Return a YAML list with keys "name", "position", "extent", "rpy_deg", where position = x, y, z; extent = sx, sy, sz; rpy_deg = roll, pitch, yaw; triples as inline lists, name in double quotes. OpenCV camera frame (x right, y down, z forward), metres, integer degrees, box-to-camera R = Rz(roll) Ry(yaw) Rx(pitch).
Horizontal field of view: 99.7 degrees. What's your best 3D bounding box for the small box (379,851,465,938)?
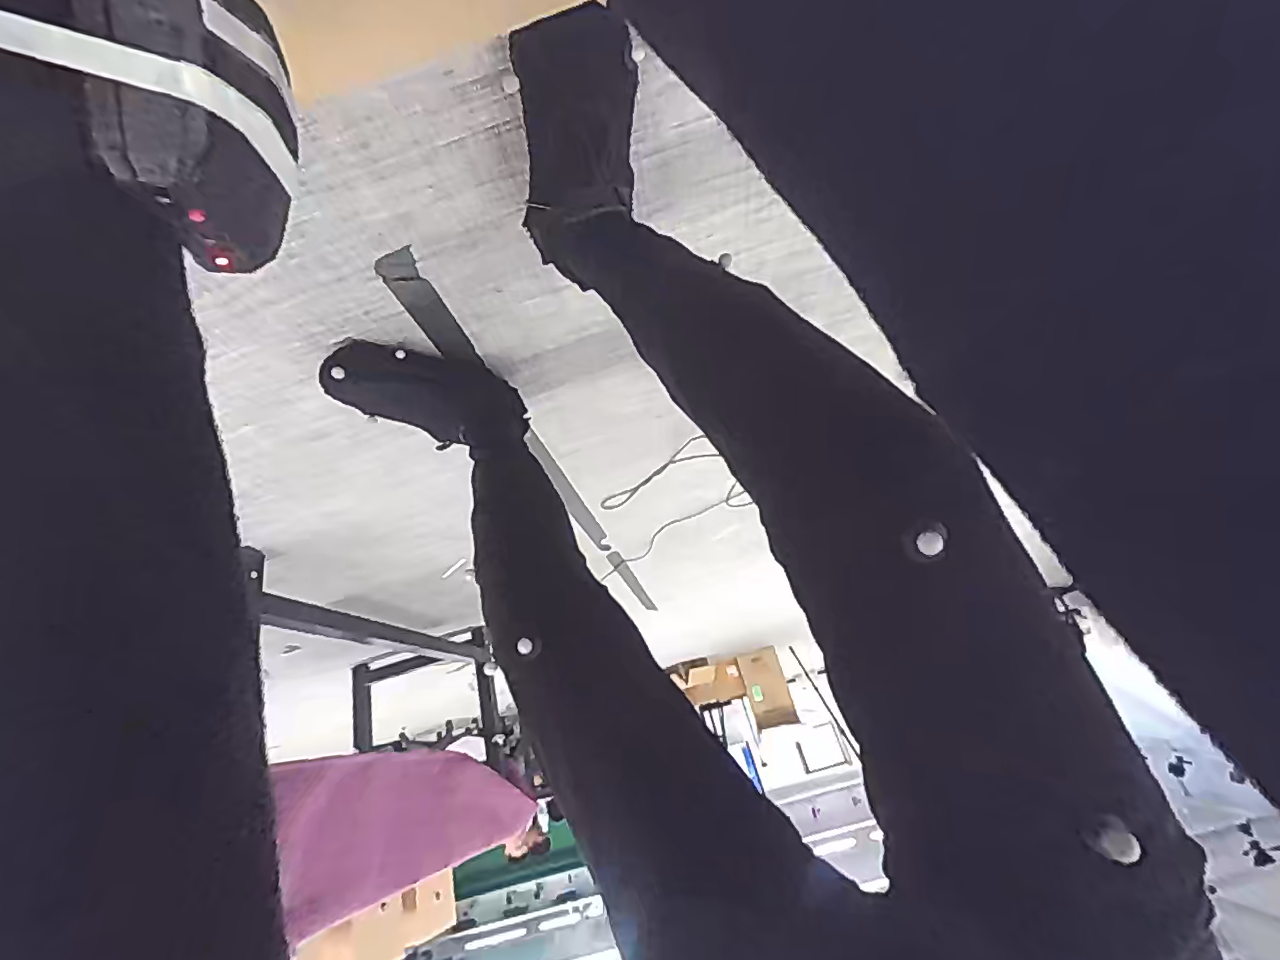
- name: "small box"
  position: [-0.650, 1.229, 1.605]
  extent: [0.179, 0.176, 0.168]
  rpy_deg: [-21, 154, 12]
